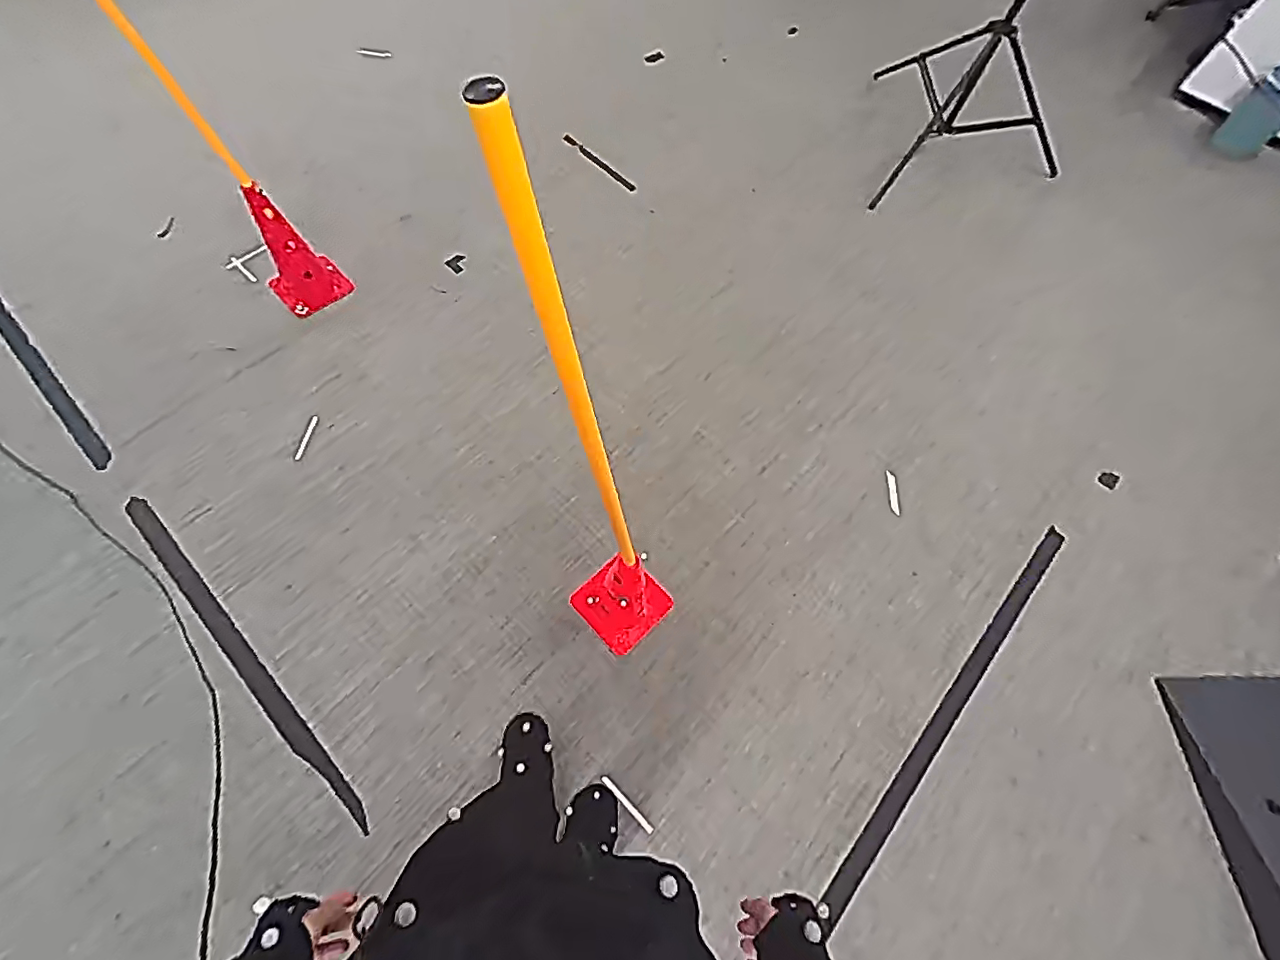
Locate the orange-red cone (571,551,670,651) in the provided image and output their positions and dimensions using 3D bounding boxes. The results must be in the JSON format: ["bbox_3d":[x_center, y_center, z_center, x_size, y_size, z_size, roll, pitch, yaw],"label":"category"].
[{"bbox_3d":[-0.035,0.229,1.203,0.198,0.360,0.199,-39,74,-19],"label":"orange-red cone"}]
